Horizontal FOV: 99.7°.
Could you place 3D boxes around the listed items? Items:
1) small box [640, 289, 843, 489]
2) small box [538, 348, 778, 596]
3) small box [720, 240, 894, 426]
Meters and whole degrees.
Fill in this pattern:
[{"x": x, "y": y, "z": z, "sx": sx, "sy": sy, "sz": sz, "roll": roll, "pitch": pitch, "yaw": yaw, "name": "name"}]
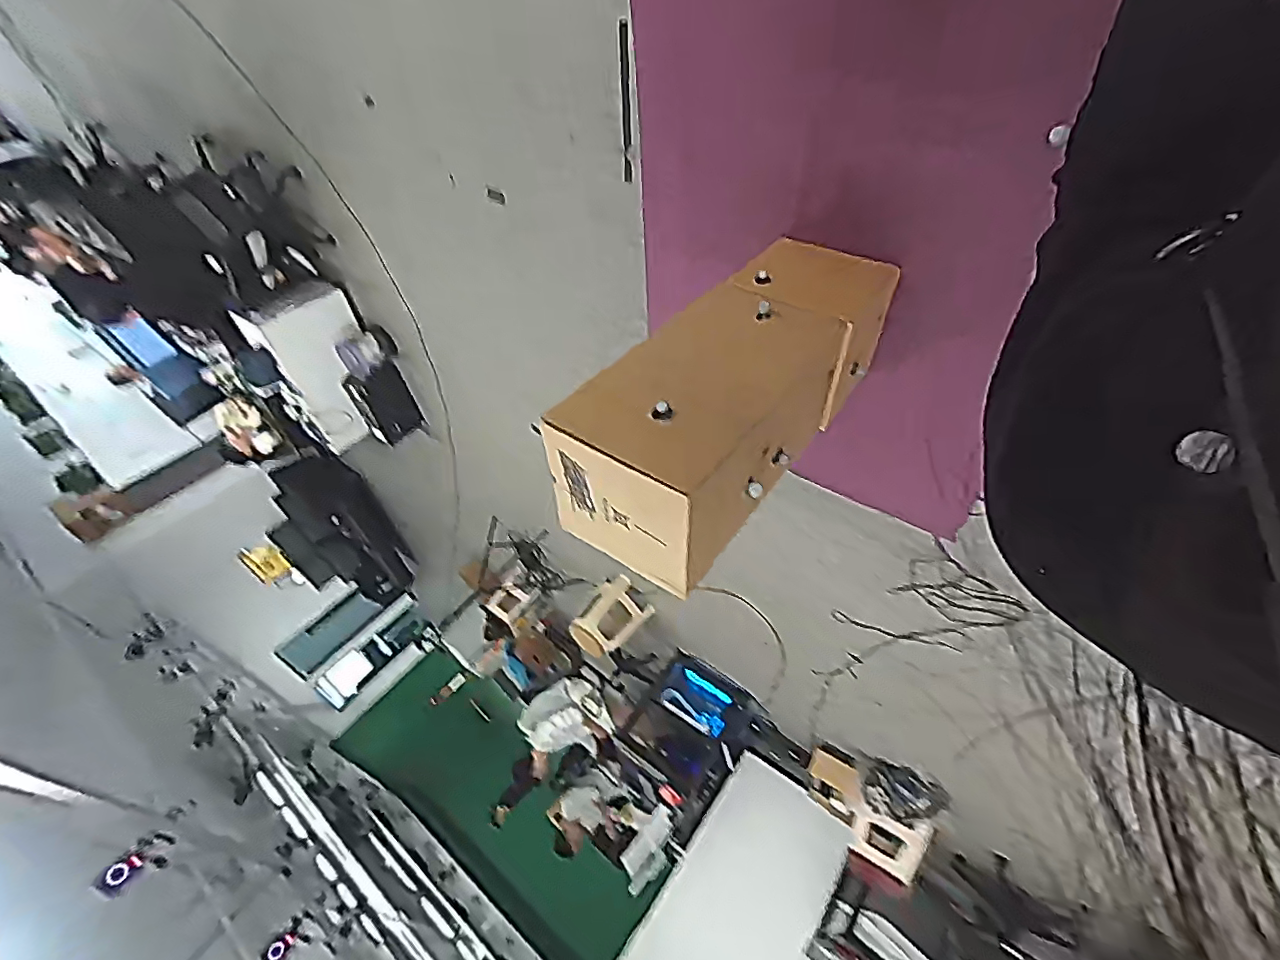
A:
[{"x": 0.120, "y": -0.115, "z": 0.668, "sx": 0.179, "sy": 0.176, "sz": 0.168, "roll": 28, "pitch": 145, "yaw": 27, "name": "small box"}, {"x": 0.021, "y": -0.018, "z": 0.577, "sx": 0.179, "sy": 0.176, "sz": 0.168, "roll": 28, "pitch": 144, "yaw": 26, "name": "small box"}, {"x": 0.224, "y": -0.210, "z": 0.751, "sx": 0.179, "sy": 0.176, "sz": 0.168, "roll": 28, "pitch": 144, "yaw": 26, "name": "small box"}]
